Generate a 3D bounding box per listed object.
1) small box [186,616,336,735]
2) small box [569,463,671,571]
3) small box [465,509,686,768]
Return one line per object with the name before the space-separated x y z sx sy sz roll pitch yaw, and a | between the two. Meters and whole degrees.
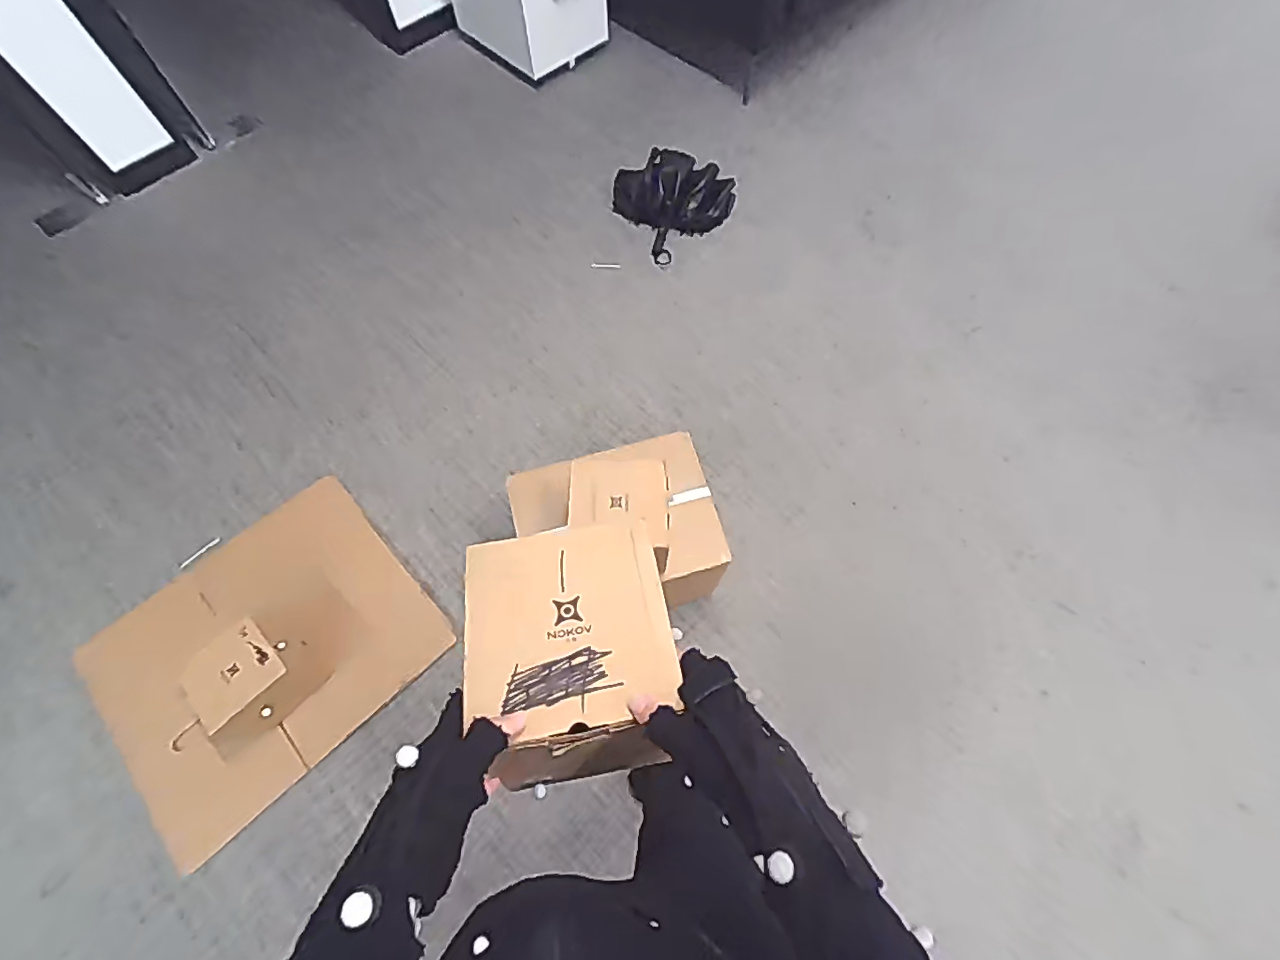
small box | -0.823 0.433 1.190 0.168 0.176 0.179 38 73 18
small box | -0.036 0.078 1.018 0.179 0.176 0.168 -2 65 1
small box | -0.057 0.158 0.515 0.168 0.176 0.179 -12 54 -7
